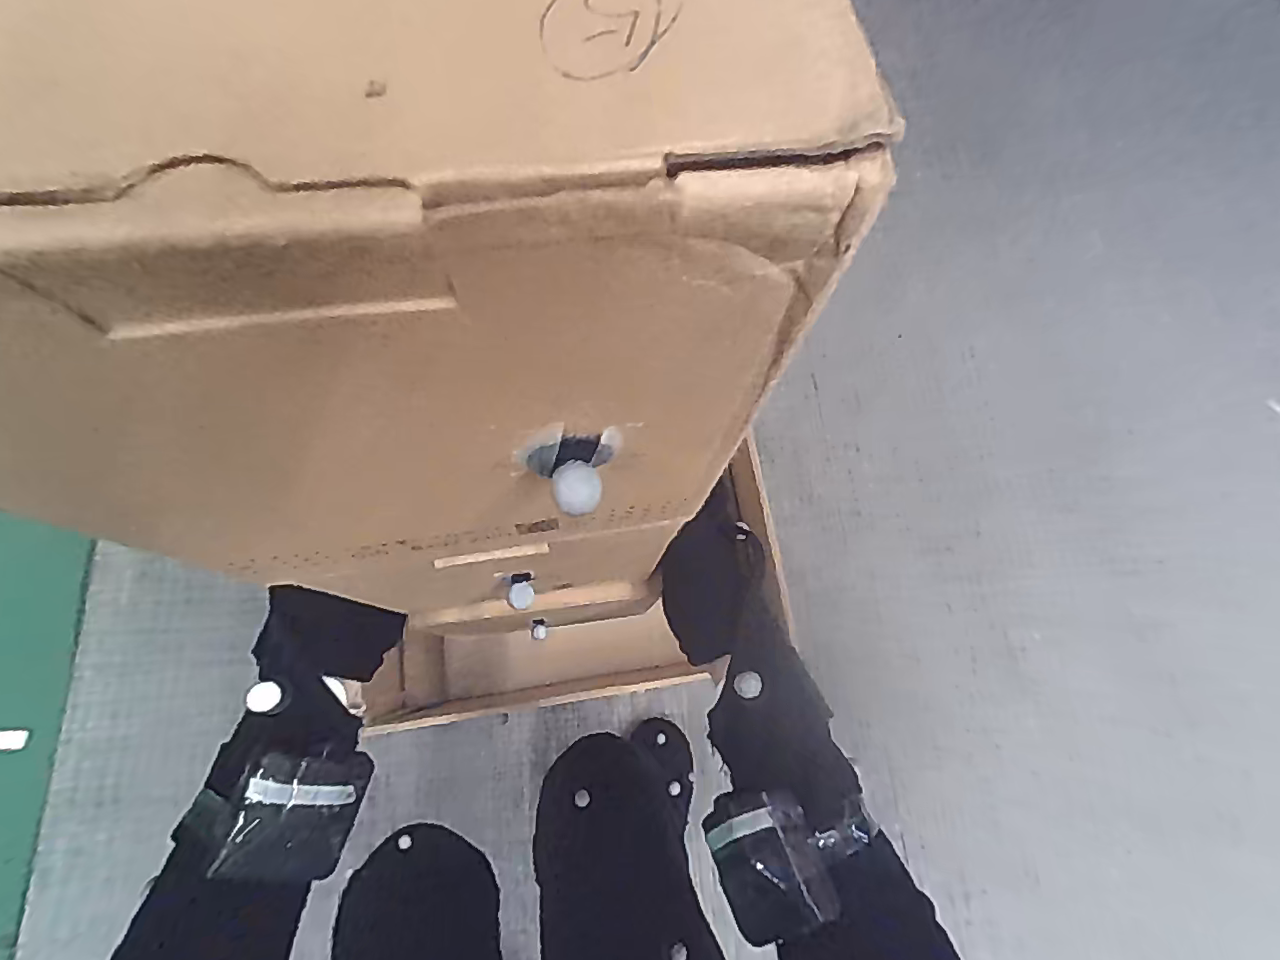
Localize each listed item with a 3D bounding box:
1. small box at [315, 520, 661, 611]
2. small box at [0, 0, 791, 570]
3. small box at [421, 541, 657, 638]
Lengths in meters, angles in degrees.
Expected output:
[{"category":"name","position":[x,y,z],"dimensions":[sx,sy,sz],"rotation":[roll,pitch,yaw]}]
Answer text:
[{"category":"small box","position":[-0.086,-0.017,0.352],"dimensions":[0.168,0.176,0.179],"rotation":[-10,71,-6]},{"category":"small box","position":[-0.073,-0.074,0.180],"dimensions":[0.168,0.176,0.179],"rotation":[-8,70,-8]},{"category":"small box","position":[-0.087,0.049,0.499],"dimensions":[0.179,0.176,0.168],"rotation":[-6,71,-5]}]
